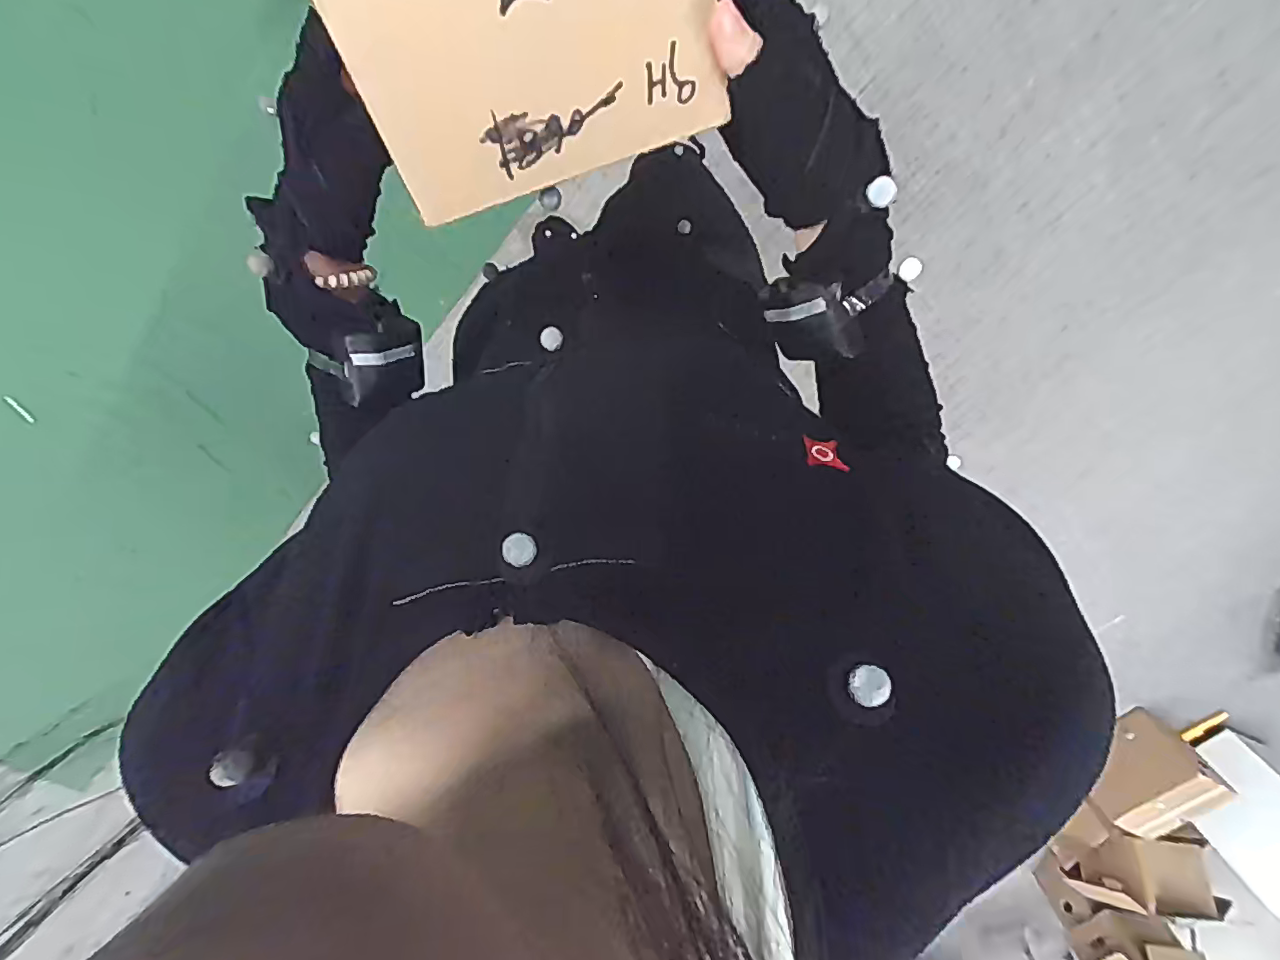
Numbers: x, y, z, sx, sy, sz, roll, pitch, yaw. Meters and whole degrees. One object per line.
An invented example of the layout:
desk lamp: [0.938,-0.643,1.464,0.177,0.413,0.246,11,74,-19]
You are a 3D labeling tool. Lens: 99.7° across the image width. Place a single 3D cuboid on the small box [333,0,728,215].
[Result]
small box: [-0.069,-0.270,0.292,0.168,0.176,0.179,-19,127,0]
